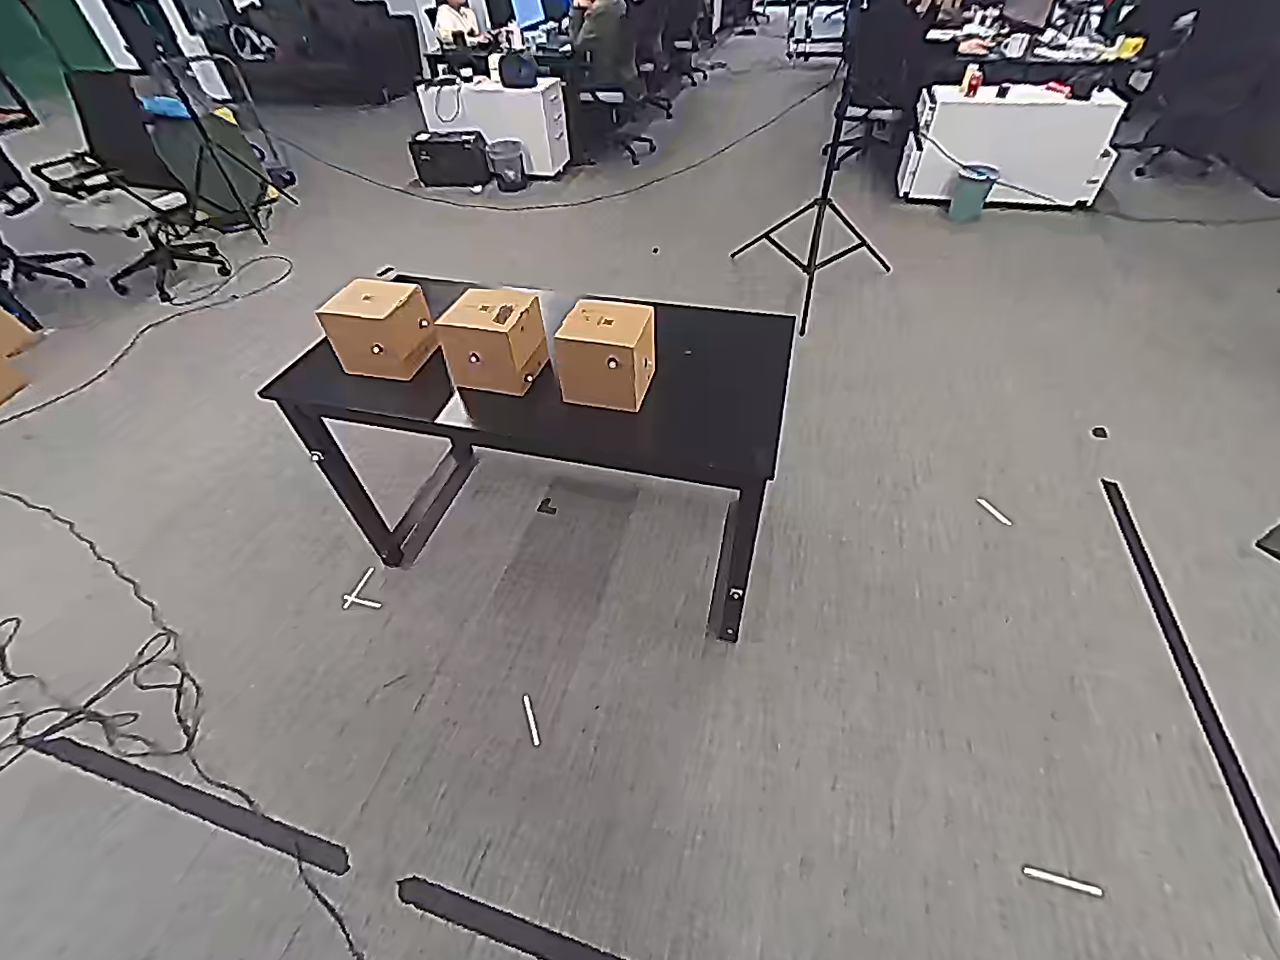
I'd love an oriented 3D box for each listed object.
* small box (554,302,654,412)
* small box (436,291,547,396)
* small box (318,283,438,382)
[{"bbox_3d":[-0.071,-0.270,1.196,0.179,0.176,0.168,9,47,11],"label":"small box"},{"bbox_3d":[-0.332,-0.314,1.252,0.179,0.176,0.168,10,48,13],"label":"small box"},{"bbox_3d":[-0.619,-0.354,1.307,0.179,0.176,0.168,7,47,10],"label":"small box"}]
